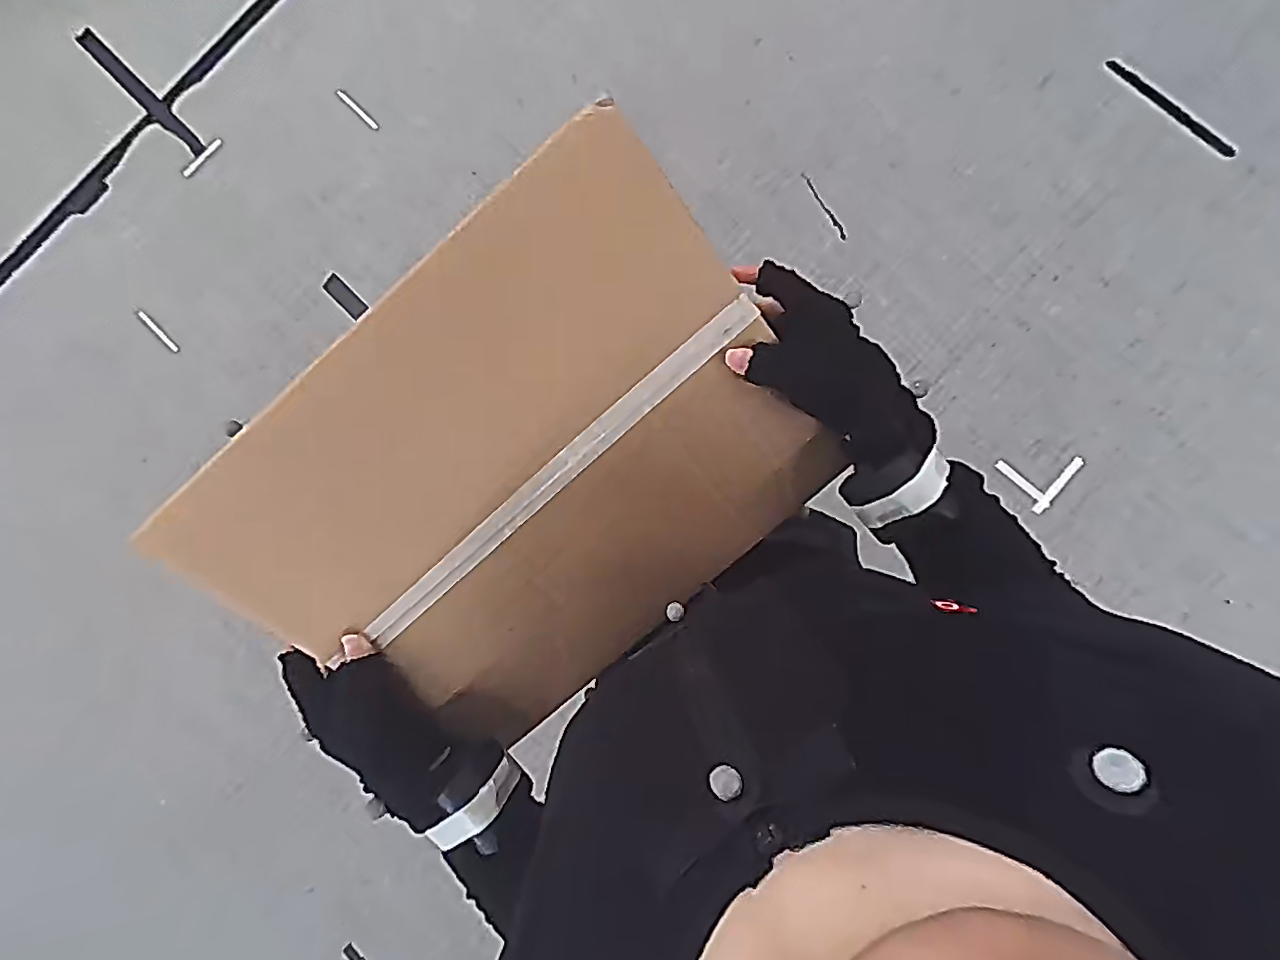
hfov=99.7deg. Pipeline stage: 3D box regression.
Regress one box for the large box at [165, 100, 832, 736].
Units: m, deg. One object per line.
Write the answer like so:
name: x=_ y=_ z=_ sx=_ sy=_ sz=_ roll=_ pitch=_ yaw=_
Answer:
large box: x=-0.112 y=-0.052 z=0.540 sx=0.408 sy=0.320 sz=0.320 roll=-41 pitch=114 yaw=5
